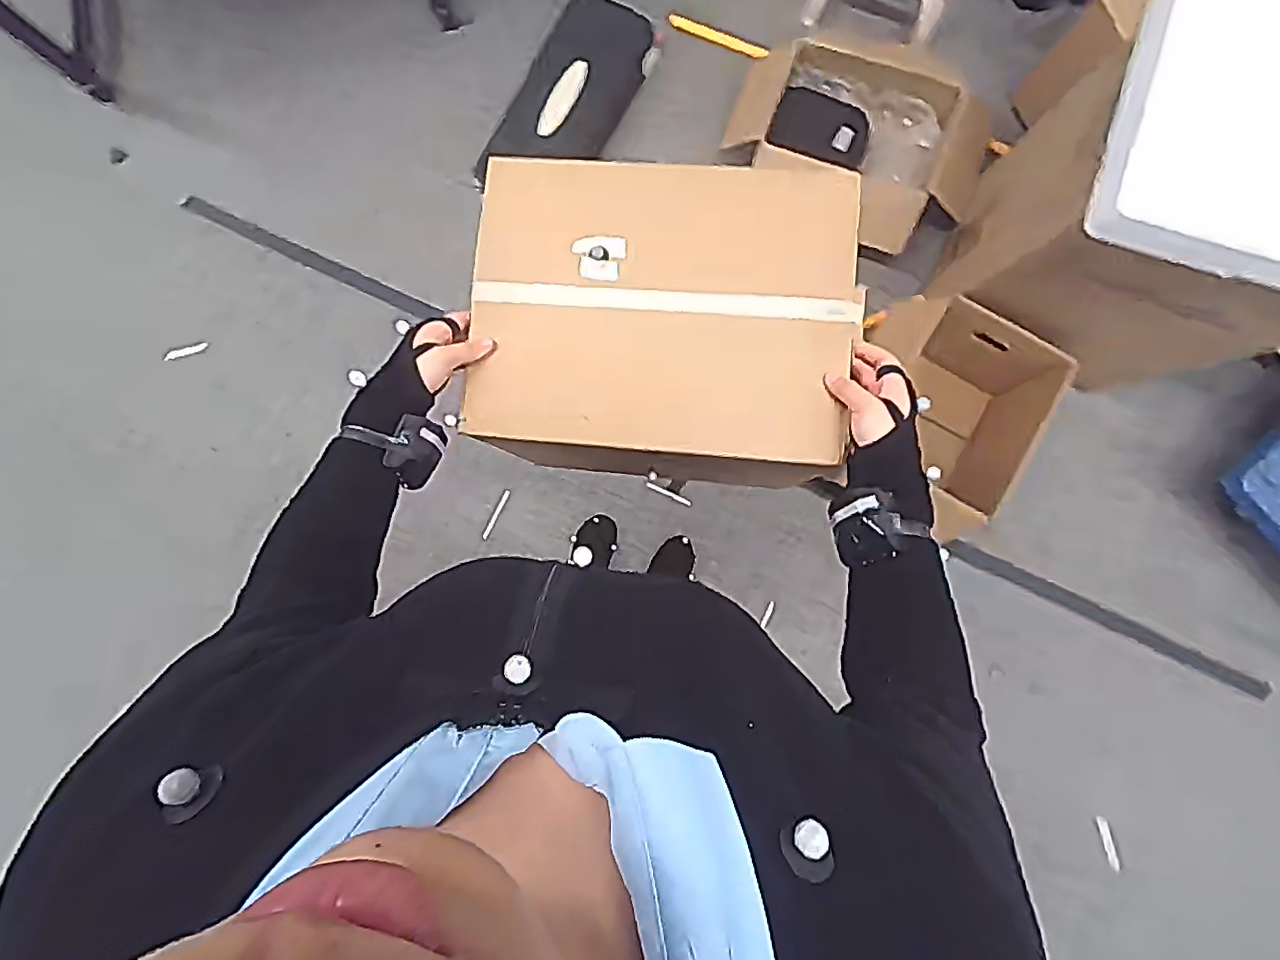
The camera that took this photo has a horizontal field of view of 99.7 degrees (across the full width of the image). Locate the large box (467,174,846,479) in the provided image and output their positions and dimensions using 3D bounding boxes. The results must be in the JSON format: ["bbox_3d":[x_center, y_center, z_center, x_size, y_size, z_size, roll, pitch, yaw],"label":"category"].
[{"bbox_3d":[0.032,-0.172,0.732,0.408,0.320,0.320,4,84,6],"label":"large box"}]
